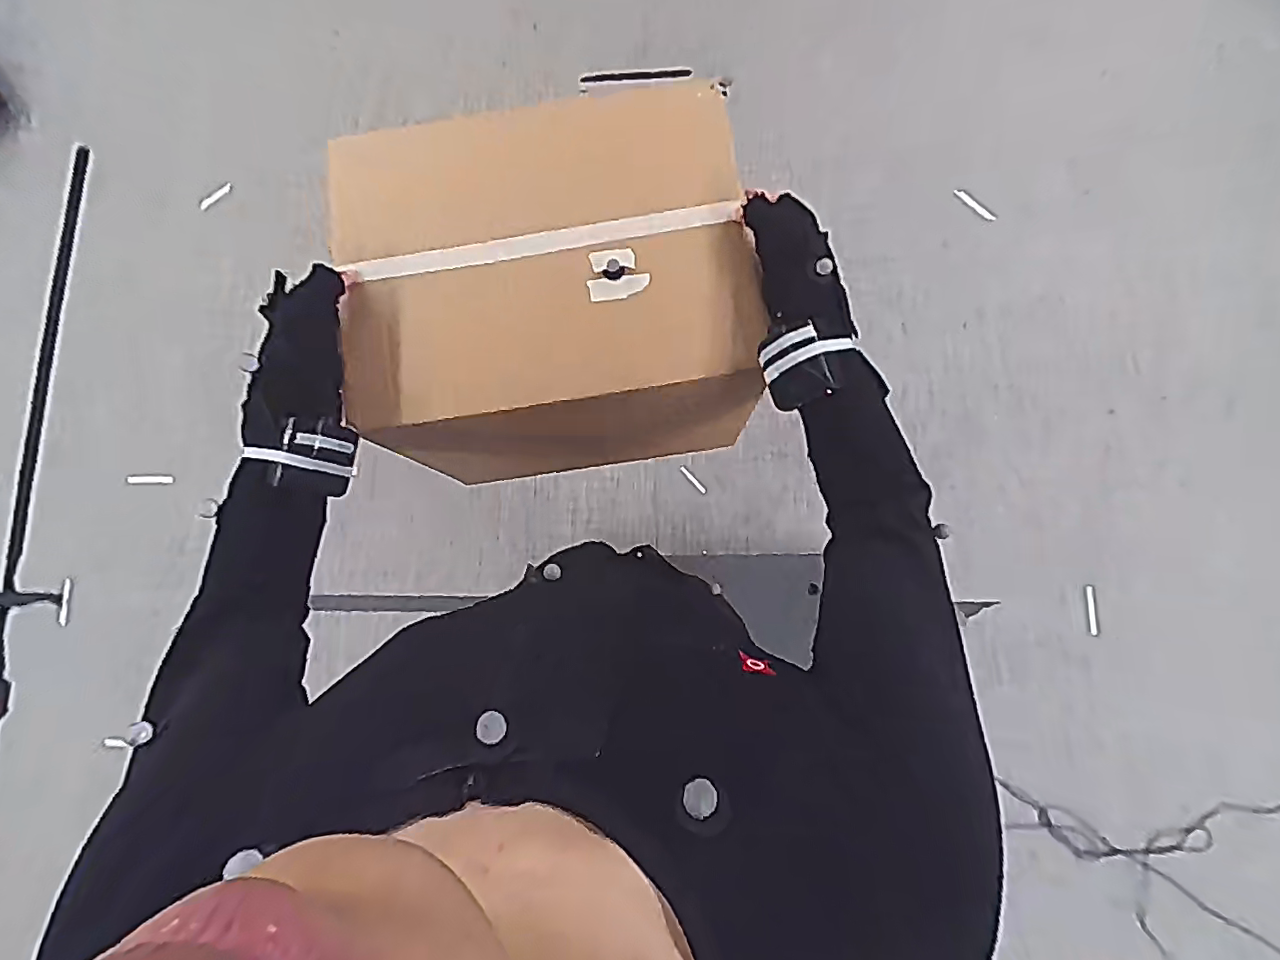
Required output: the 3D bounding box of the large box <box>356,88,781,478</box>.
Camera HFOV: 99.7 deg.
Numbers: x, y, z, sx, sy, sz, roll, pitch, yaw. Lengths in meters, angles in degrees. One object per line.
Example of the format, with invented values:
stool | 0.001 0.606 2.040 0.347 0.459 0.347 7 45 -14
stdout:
large box | -0.079 -0.205 0.684 0.408 0.320 0.320 -8 80 1
